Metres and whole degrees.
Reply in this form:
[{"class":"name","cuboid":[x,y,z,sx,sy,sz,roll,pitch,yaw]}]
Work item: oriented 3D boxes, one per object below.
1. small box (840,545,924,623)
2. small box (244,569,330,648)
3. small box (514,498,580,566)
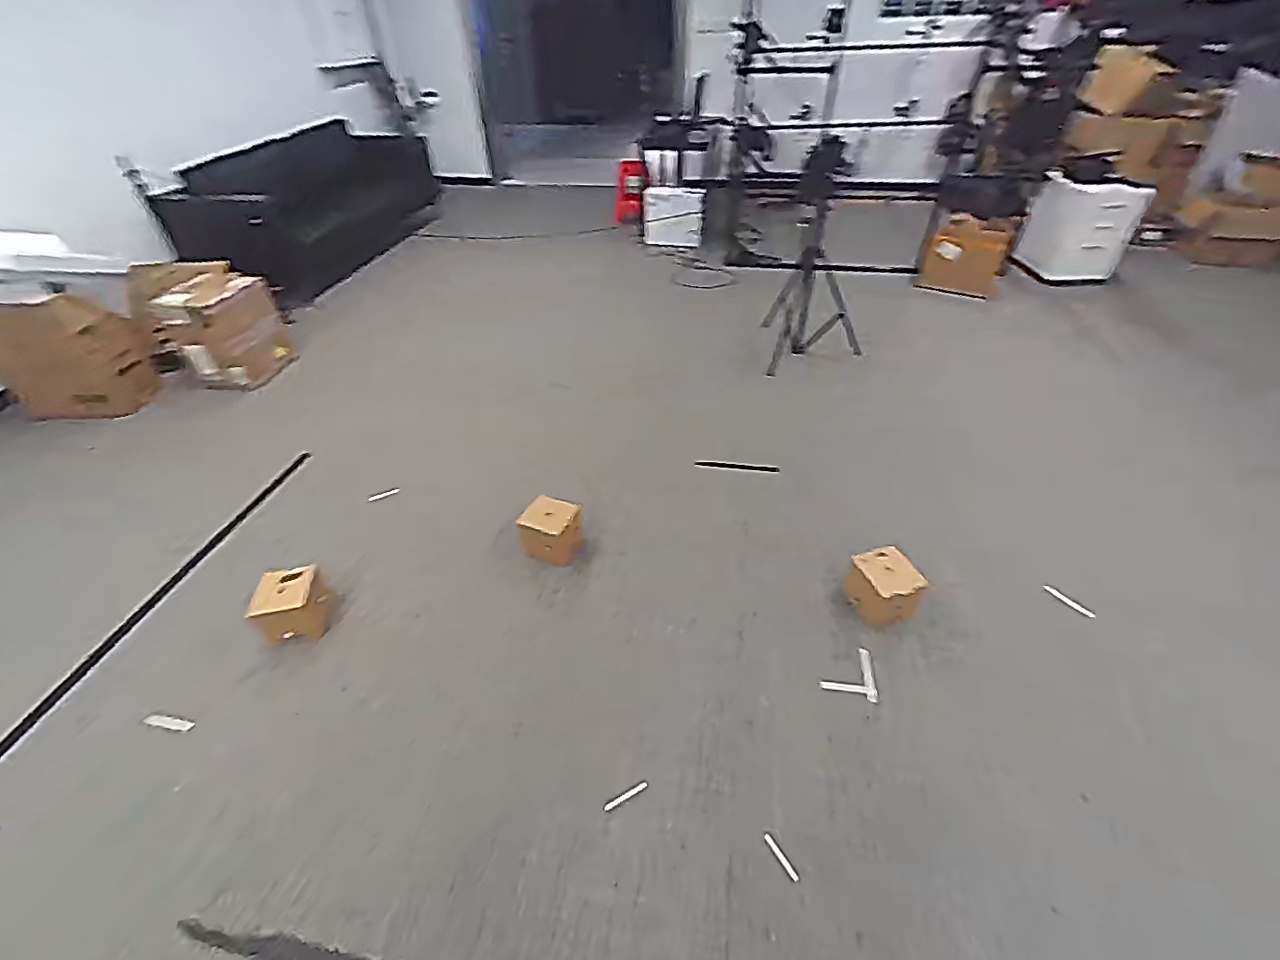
[{"class":"small box","cuboid":[0.790,0.349,1.782,0.168,0.176,0.179,-13,43,-12]},{"class":"small box","cuboid":[-1.148,0.422,1.777,0.168,0.176,0.179,-9,42,-8]},{"class":"small box","cuboid":[-0.339,0.197,2.014,0.179,0.176,0.168,13,42,19]}]
